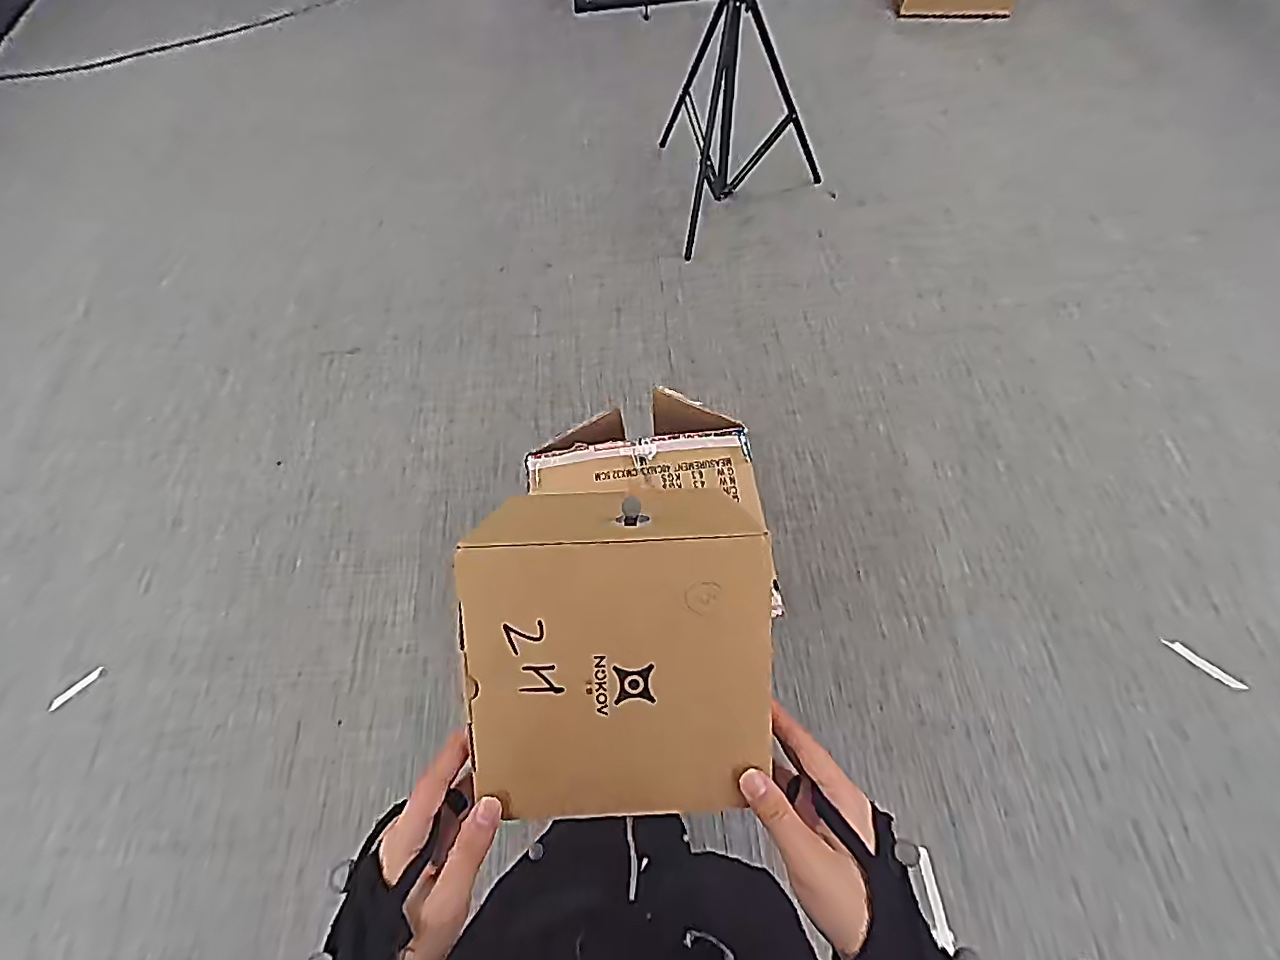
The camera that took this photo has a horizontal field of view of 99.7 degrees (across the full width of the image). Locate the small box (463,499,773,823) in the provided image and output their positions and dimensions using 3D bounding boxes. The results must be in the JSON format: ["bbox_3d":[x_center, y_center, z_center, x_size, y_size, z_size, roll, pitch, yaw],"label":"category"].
[{"bbox_3d":[-0.012,0.108,0.391,0.179,0.176,0.168,-2,97,-1],"label":"small box"}]
